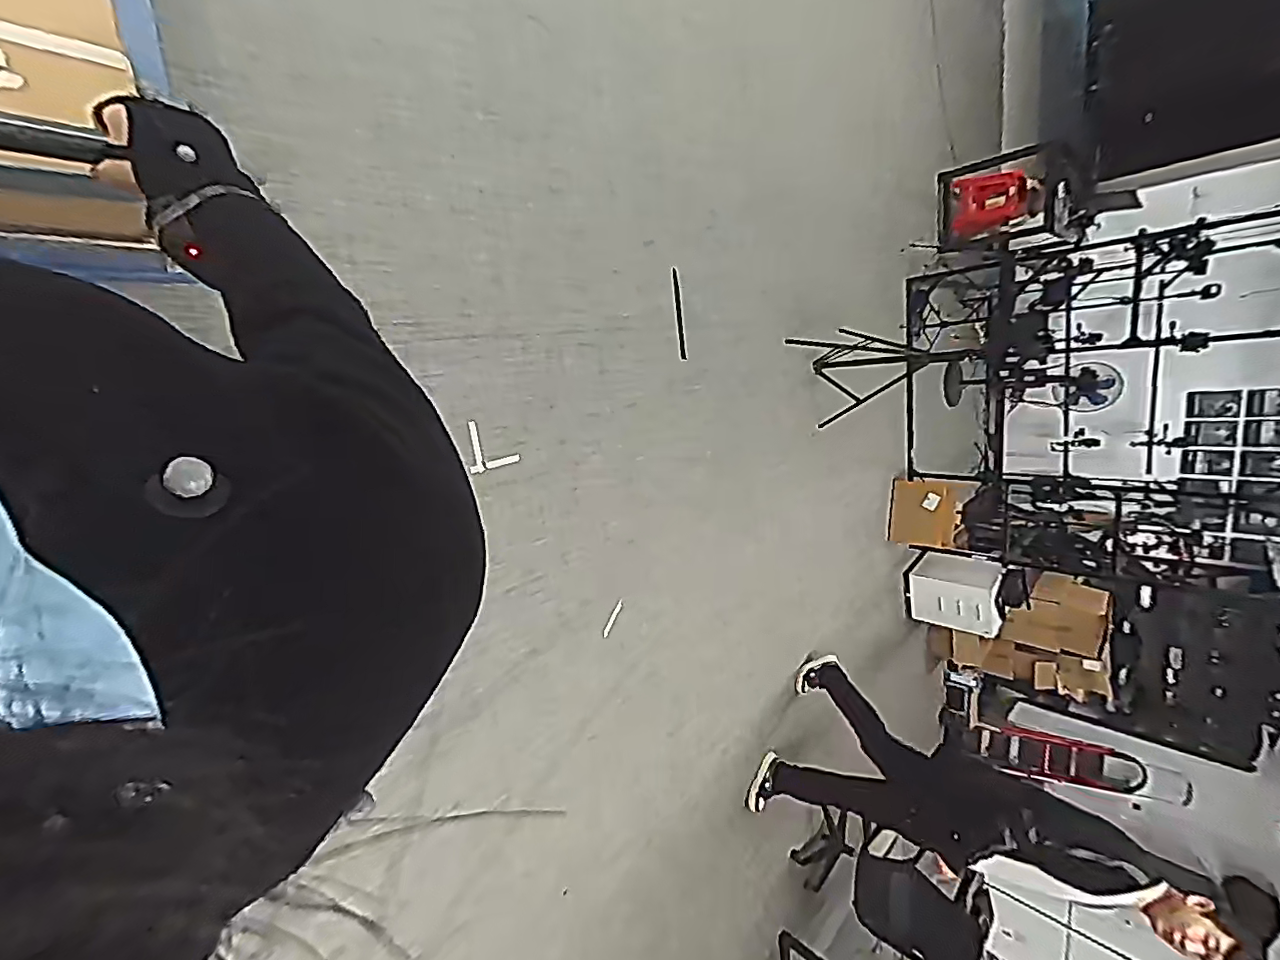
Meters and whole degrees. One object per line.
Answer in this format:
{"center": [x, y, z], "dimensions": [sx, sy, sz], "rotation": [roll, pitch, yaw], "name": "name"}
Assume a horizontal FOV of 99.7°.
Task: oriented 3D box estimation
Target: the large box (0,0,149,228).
{"center": [-0.965, -0.553, 0.715], "dimensions": [0.408, 0.320, 0.320], "rotation": [-16, 106, -45], "name": "large box"}
